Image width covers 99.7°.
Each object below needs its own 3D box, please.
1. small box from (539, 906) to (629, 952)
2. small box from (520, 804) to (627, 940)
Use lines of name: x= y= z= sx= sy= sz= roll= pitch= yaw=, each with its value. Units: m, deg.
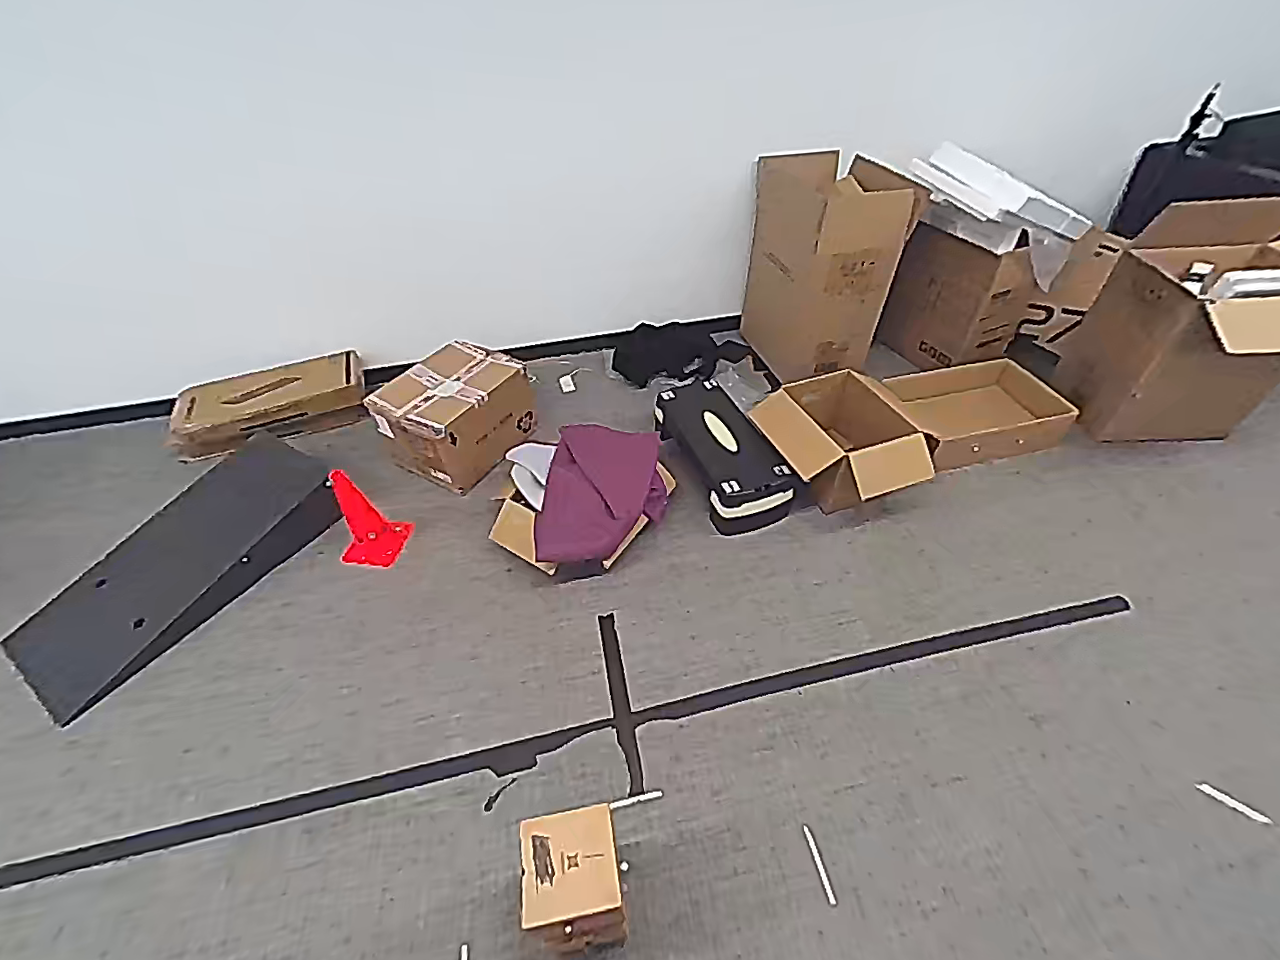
small box: x=-0.120 y=0.873 z=1.144 sx=0.168 sy=0.176 sz=0.179 roll=-9 pitch=46 yaw=-5
small box: x=-0.126 y=0.750 z=1.033 sx=0.179 sy=0.176 sz=0.168 roll=-9 pitch=45 yaw=-6
